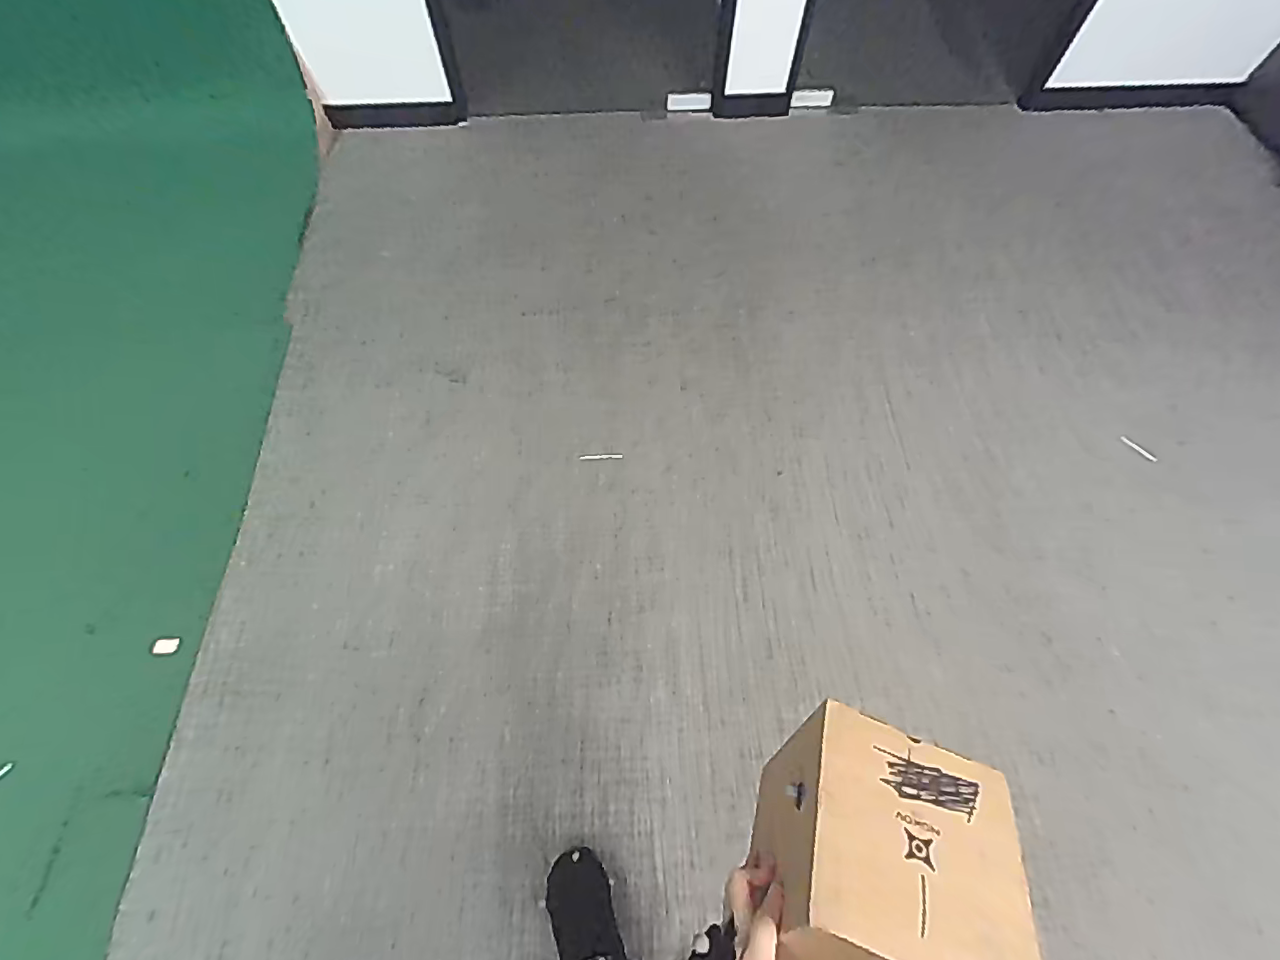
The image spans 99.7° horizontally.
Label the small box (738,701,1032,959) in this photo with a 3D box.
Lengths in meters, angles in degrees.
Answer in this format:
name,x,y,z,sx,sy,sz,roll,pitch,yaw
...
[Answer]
name,x,y,z,sx,sy,sz,roll,pitch,yaw
small box,0.201,0.342,0.481,0.168,0.176,0.179,22,41,7
